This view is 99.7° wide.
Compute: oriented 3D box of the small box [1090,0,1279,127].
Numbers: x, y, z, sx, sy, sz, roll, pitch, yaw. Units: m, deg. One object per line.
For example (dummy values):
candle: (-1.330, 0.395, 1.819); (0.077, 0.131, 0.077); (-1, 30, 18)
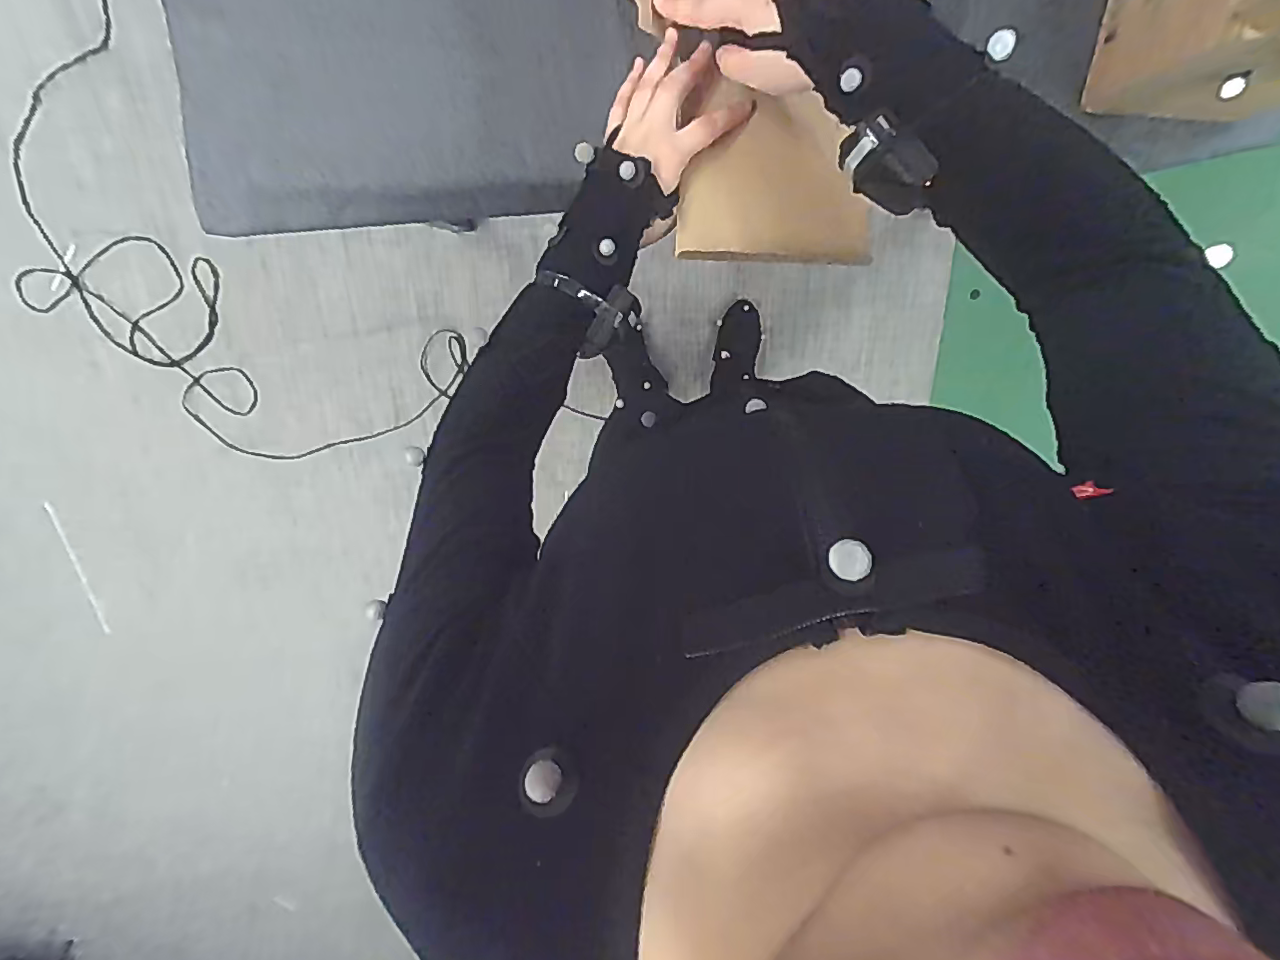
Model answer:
small box: (0.568, -0.440, 0.486); (0.179, 0.176, 0.168); (4, 107, 1)

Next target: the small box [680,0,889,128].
small box: (0.123, -0.445, 0.498); (0.168, 0.176, 0.179); (2, 108, 2)
